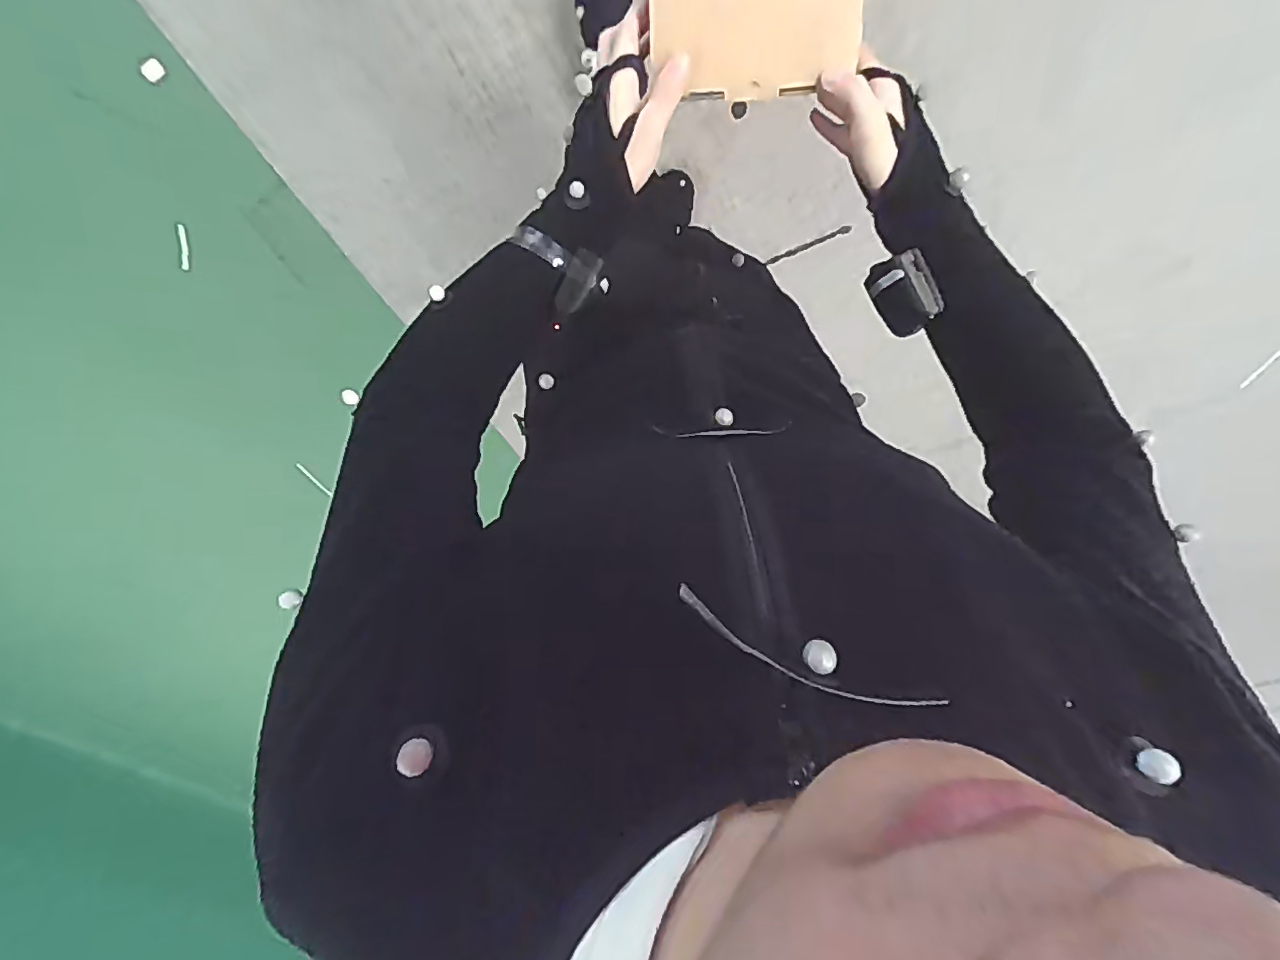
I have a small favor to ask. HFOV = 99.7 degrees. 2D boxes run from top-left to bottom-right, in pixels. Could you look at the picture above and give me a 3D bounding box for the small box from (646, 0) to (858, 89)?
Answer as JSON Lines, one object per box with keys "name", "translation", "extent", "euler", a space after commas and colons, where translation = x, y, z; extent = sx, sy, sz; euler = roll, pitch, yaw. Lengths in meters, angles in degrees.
{"name": "small box", "translation": [0.090, -0.447, 0.463], "extent": [0.168, 0.176, 0.179], "euler": [0, 125, 4]}
